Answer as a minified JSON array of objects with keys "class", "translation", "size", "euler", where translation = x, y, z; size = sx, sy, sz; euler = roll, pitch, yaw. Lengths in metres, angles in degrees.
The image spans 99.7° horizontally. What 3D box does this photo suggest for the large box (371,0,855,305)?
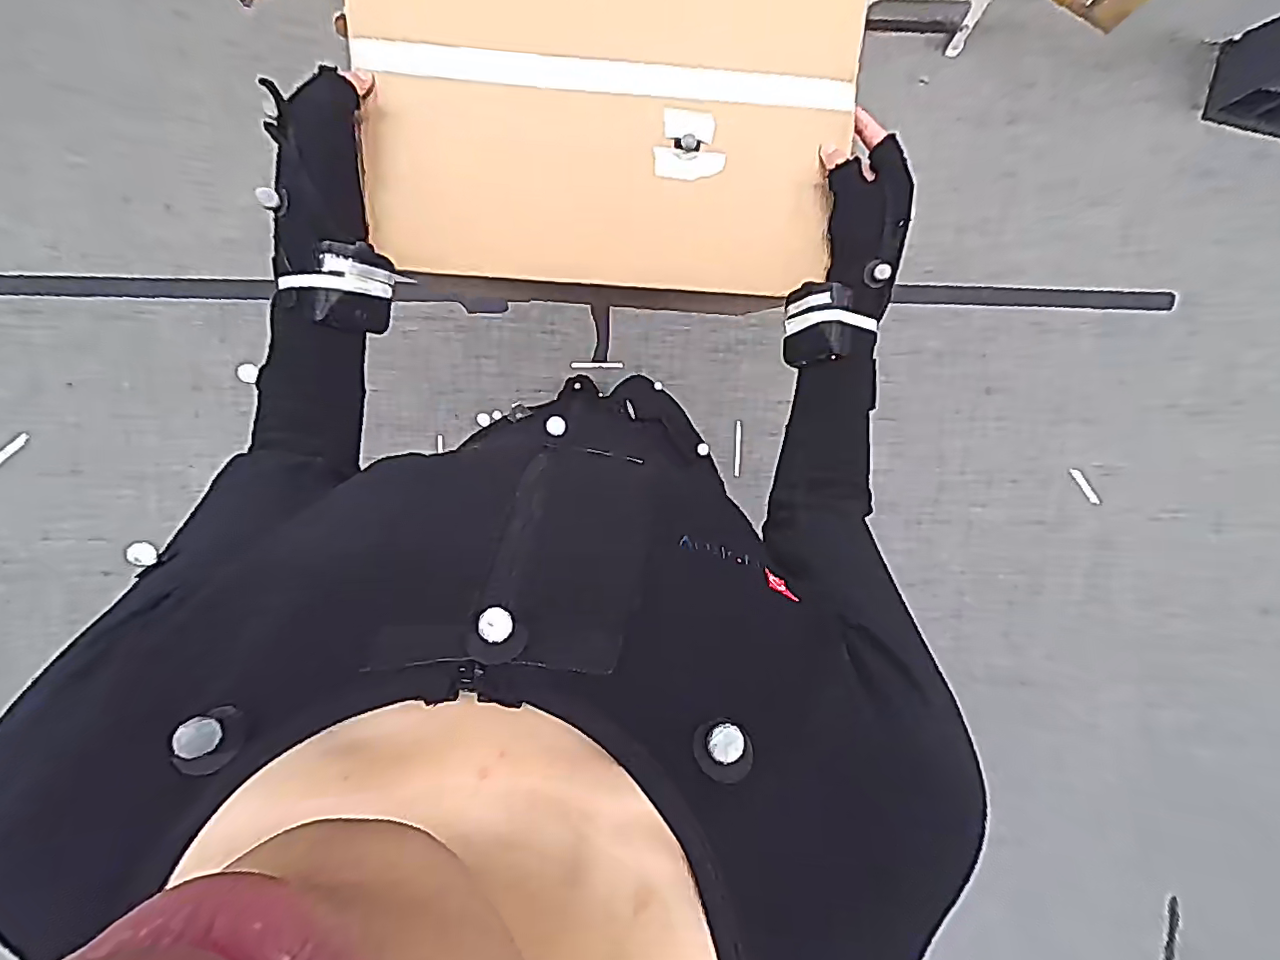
[{"class":"large box","translation":[-0.032,-0.372,0.600],"size":[0.408,0.320,0.320],"euler":[2,105,-4]}]
